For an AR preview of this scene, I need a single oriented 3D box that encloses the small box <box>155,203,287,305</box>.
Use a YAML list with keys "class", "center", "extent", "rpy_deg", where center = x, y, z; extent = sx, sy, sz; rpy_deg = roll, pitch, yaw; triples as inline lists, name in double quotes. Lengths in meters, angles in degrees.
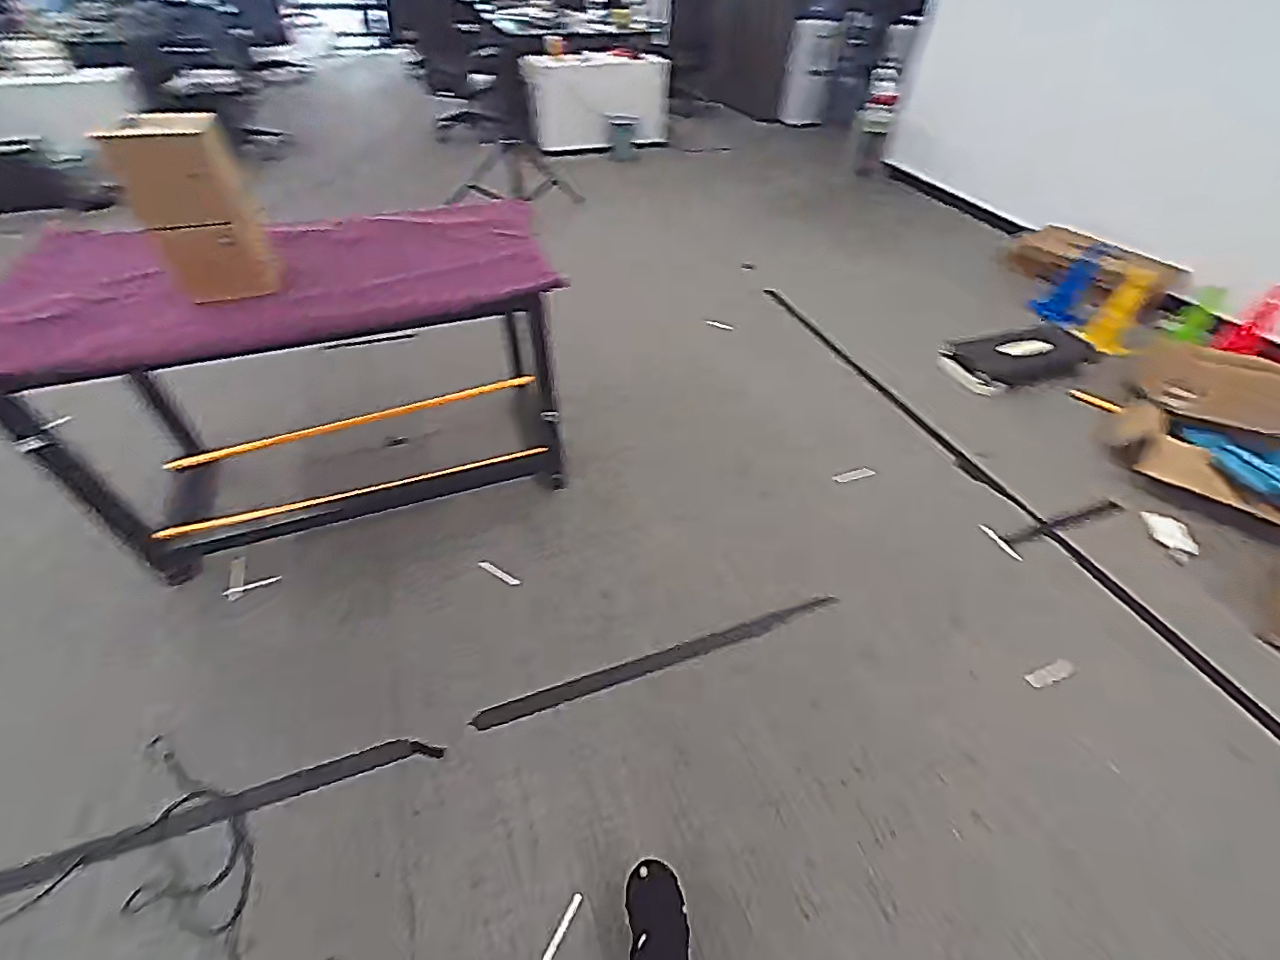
- class: "small box"
  center: [-0.958, -0.521, 1.255]
  extent: [0.179, 0.176, 0.168]
  rpy_deg: [-13, 47, -16]
